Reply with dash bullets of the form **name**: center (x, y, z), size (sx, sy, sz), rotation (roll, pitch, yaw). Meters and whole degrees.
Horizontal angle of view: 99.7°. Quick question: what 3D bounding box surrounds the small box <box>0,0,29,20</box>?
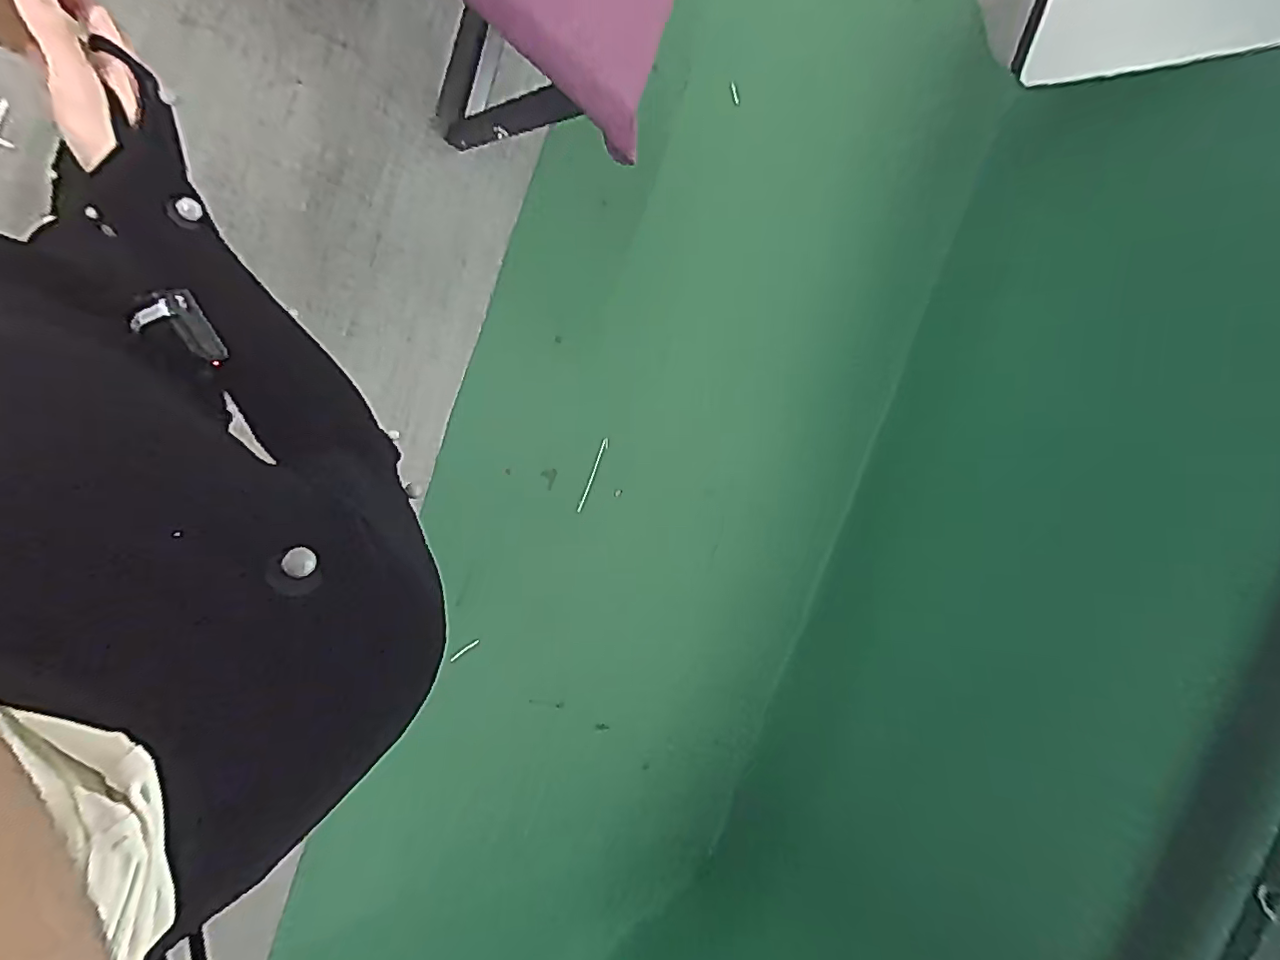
- **small box**: center (-0.460, -0.423, 0.307), size (0.168, 0.176, 0.179), rotation (7, 102, -50)
